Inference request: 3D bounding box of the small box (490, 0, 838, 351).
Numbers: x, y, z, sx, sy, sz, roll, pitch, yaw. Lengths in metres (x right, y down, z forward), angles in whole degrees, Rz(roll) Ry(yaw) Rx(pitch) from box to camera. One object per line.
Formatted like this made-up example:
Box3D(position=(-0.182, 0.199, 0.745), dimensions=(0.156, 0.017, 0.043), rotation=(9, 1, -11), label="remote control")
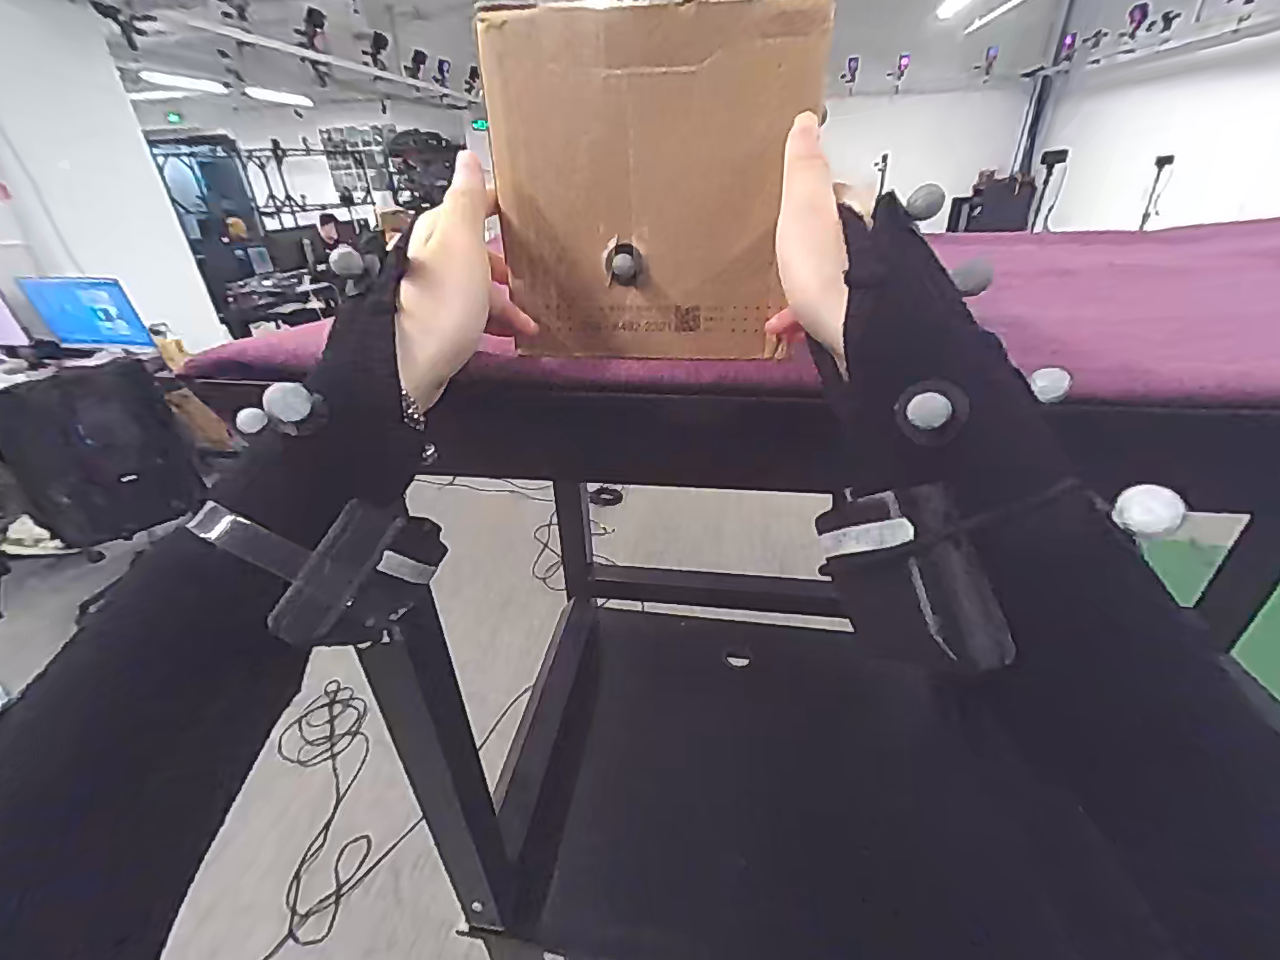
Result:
Box3D(position=(0.016, -0.192, 0.357), dimensions=(0.168, 0.176, 0.179), rotation=(2, 29, 5), label="small box")
